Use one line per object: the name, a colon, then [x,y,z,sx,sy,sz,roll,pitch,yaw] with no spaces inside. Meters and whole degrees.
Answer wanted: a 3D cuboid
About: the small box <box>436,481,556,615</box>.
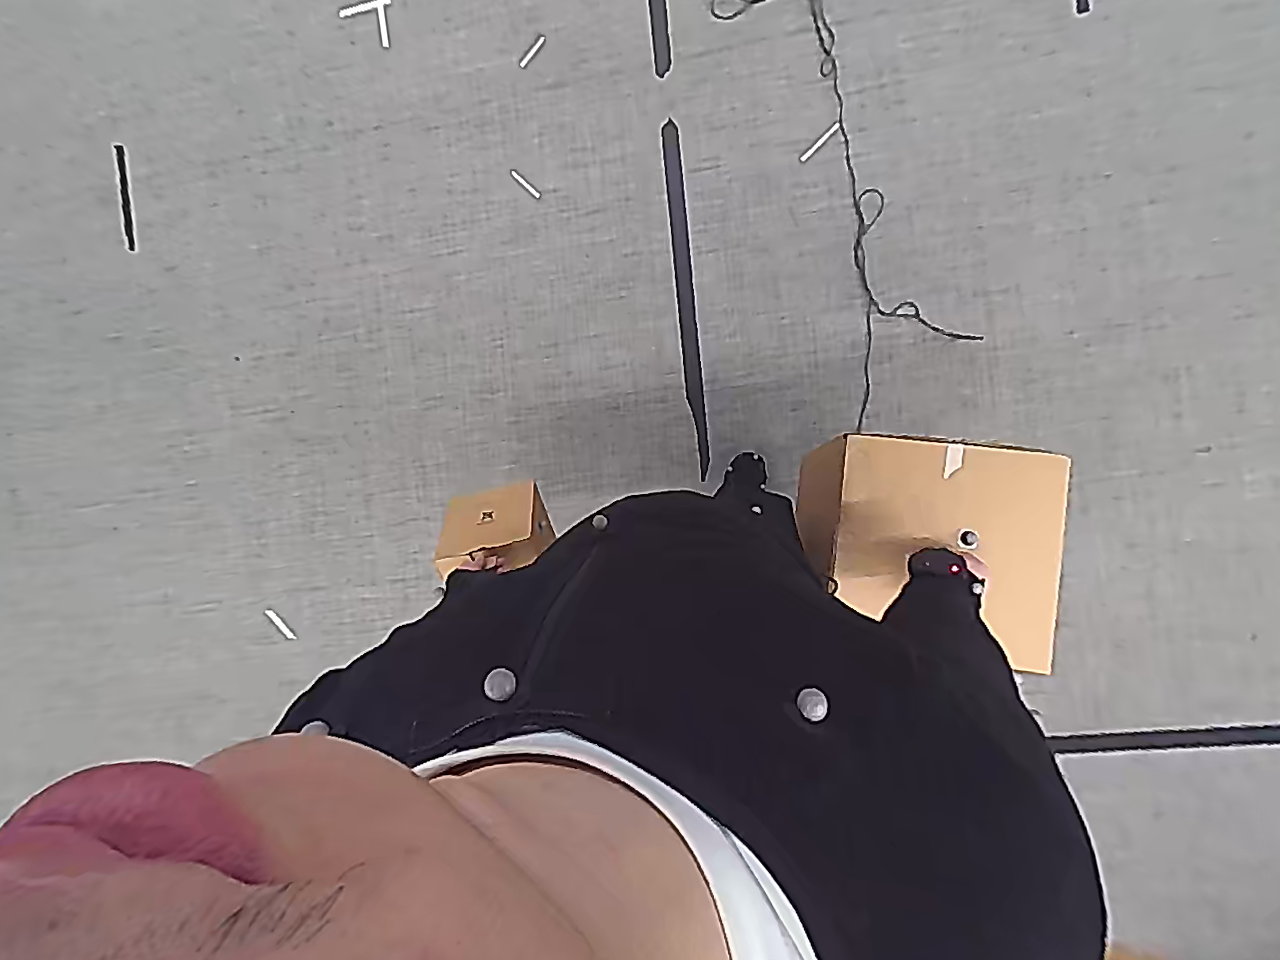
small box: [-0.257,0.132,1.011,0.168,0.179,0.176,-12,126,-1]
